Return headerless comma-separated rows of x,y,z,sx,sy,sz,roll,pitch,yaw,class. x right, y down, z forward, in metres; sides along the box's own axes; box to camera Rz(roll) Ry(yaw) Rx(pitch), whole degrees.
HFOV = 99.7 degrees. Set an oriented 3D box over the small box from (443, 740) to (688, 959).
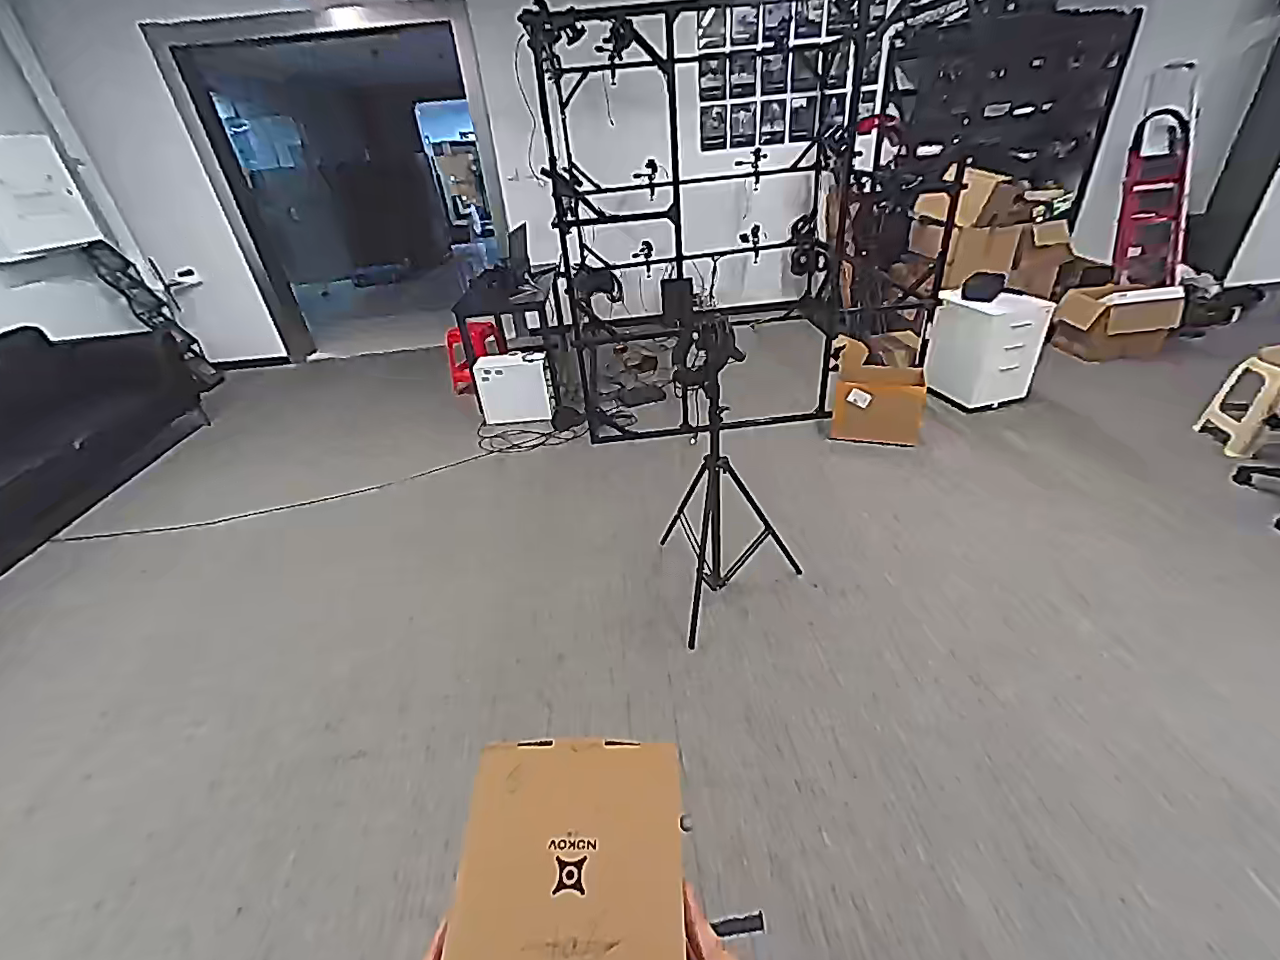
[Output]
-0.050,0.338,0.453,0.168,0.176,0.179,-1,46,0,small box
